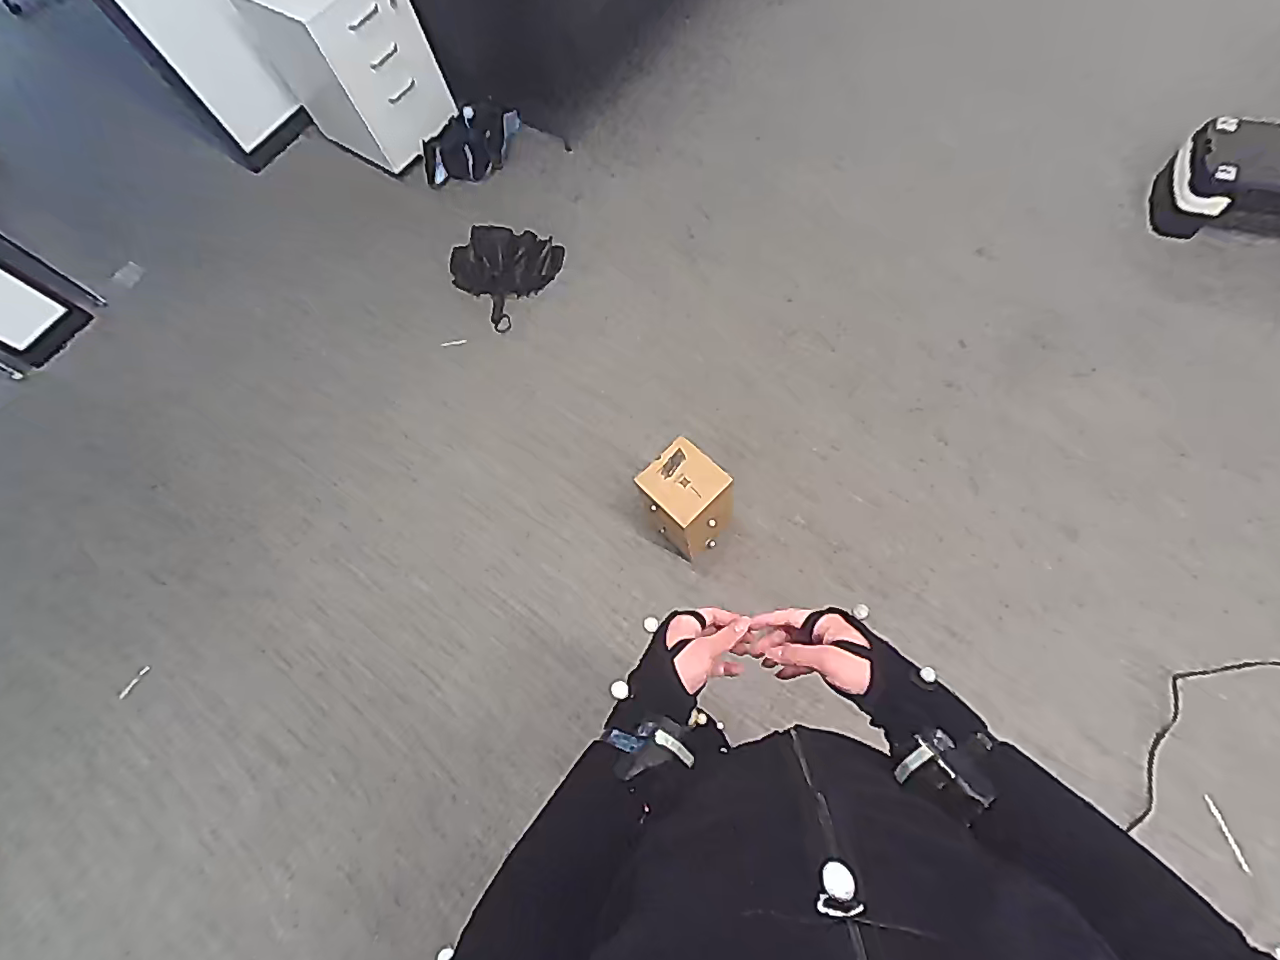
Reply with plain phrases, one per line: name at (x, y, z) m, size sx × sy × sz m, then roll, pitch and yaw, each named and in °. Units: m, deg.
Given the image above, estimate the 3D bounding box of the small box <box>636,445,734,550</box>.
small box at (0.115, 0.050, 1.354) m, size 0.168 × 0.176 × 0.179 m, roll -43°, pitch 69°, yaw -9°

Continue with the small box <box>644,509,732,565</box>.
small box at (0.136, 0.113, 1.504) m, size 0.168 × 0.176 × 0.179 m, roll -44°, pitch 70°, yaw -9°
